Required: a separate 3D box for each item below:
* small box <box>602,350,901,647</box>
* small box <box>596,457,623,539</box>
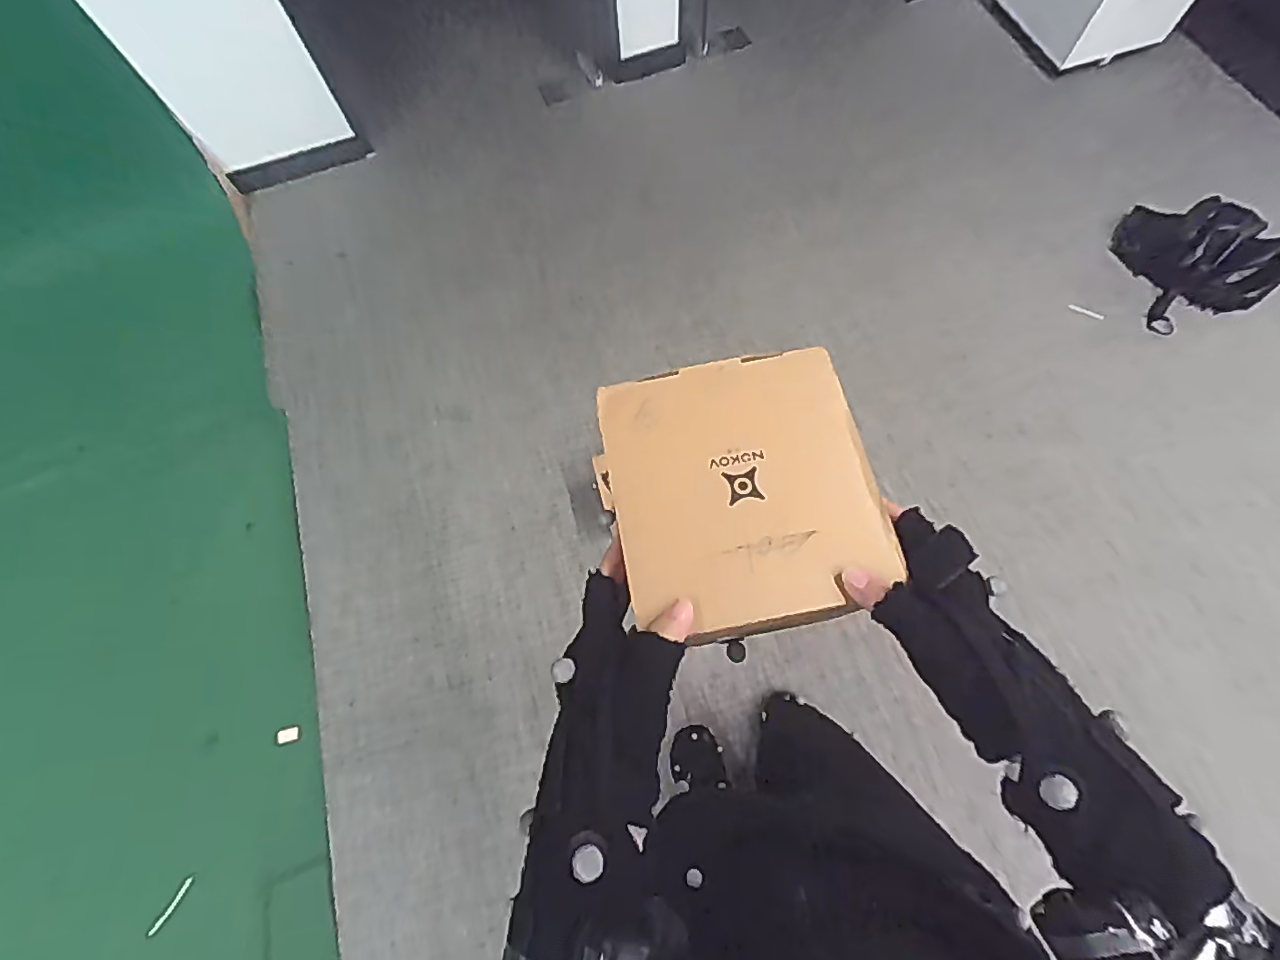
[{"bbox_3d":[0.068,0.027,0.430,0.168,0.176,0.179,-10,70,-1],"label":"small box"},{"bbox_3d":[-0.002,0.036,1.362,0.179,0.176,0.168,-14,68,-2],"label":"small box"}]
